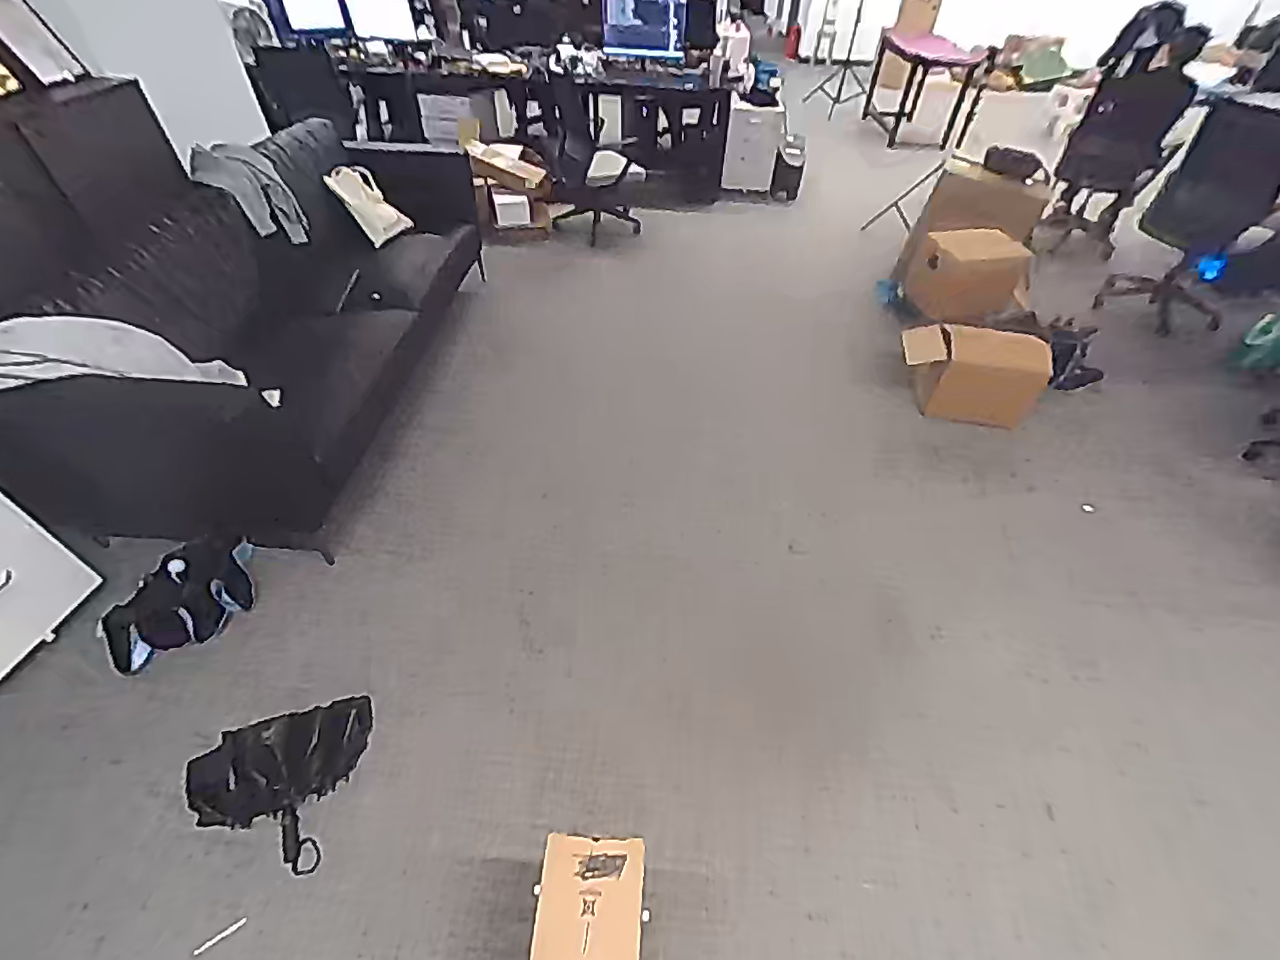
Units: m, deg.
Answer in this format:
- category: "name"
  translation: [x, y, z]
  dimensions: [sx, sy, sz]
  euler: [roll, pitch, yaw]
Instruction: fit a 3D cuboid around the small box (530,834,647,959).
- category: "small box"
  translation: [-0.079, 0.710, 0.893]
  dimensions: [0.168, 0.176, 0.179]
  euler: [4, 47, 1]
